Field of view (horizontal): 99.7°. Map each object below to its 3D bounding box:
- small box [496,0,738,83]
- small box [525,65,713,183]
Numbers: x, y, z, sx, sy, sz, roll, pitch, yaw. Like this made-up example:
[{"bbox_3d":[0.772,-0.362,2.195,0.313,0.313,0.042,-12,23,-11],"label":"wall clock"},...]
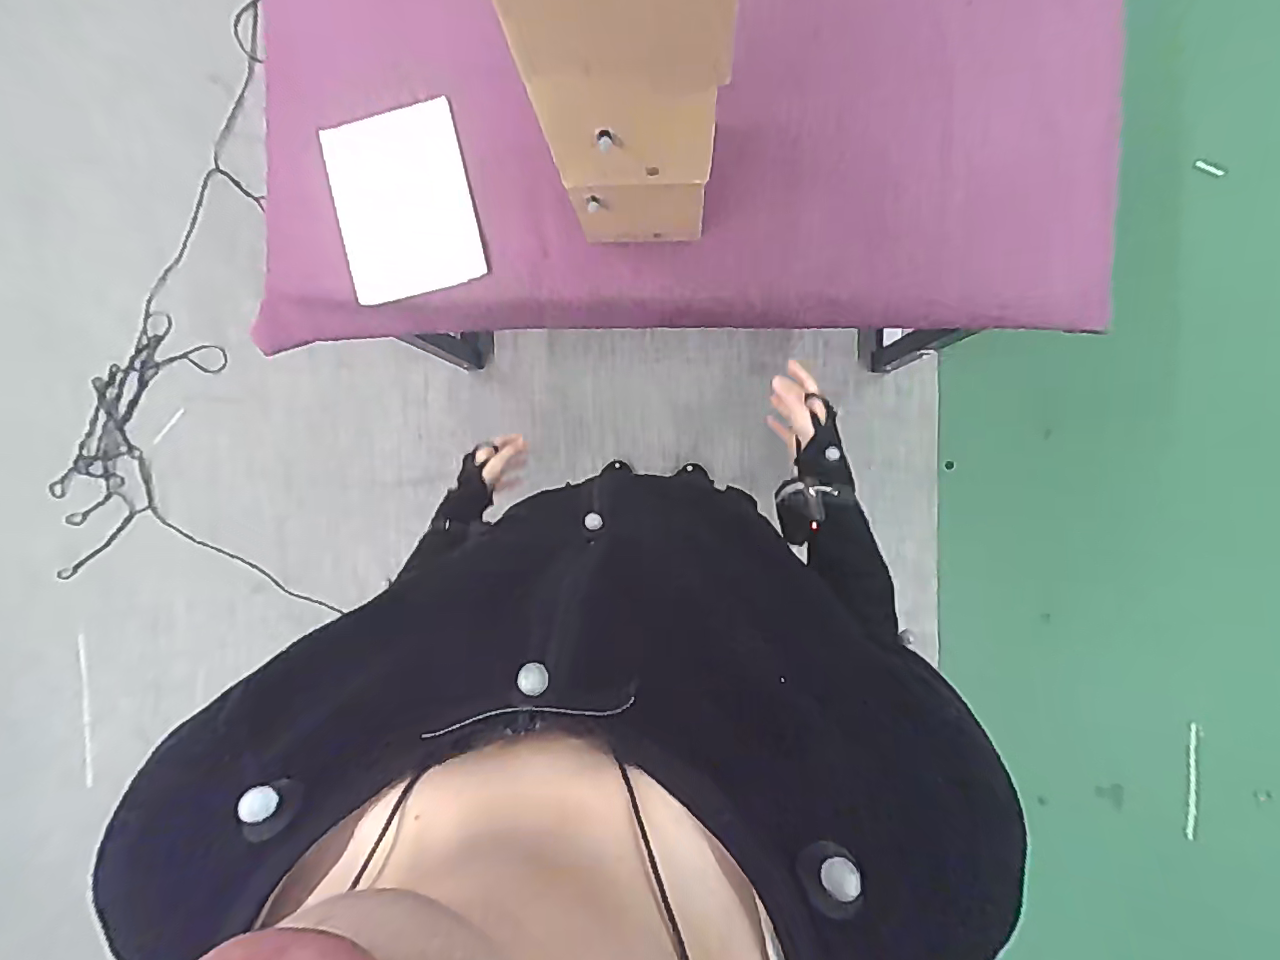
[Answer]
[{"bbox_3d":[-0.012,-0.412,0.372,0.179,0.176,0.168,3,90,4],"label":"small box"},{"bbox_3d":[-0.010,-0.420,0.537,0.168,0.176,0.179,1,90,4],"label":"small box"}]
